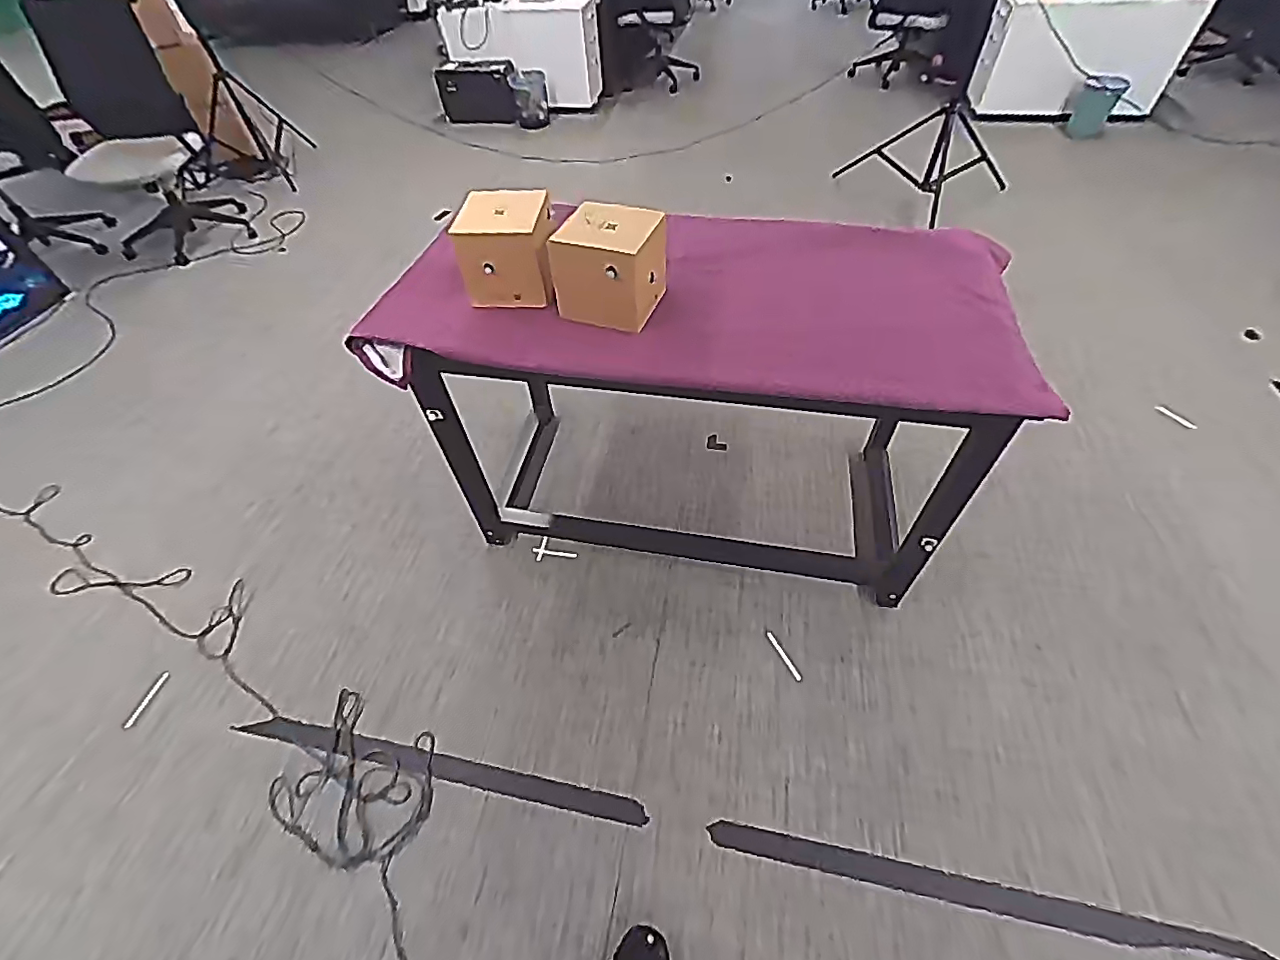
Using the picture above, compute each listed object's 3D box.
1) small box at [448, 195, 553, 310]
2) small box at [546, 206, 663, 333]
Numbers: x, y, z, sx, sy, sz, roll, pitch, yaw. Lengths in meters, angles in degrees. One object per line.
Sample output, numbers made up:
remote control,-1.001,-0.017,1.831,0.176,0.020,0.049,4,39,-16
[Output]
small box,-0.278,-0.473,1.136,0.168,0.176,0.179,0,51,4
small box,-0.061,-0.415,1.074,0.179,0.176,0.168,14,52,15
